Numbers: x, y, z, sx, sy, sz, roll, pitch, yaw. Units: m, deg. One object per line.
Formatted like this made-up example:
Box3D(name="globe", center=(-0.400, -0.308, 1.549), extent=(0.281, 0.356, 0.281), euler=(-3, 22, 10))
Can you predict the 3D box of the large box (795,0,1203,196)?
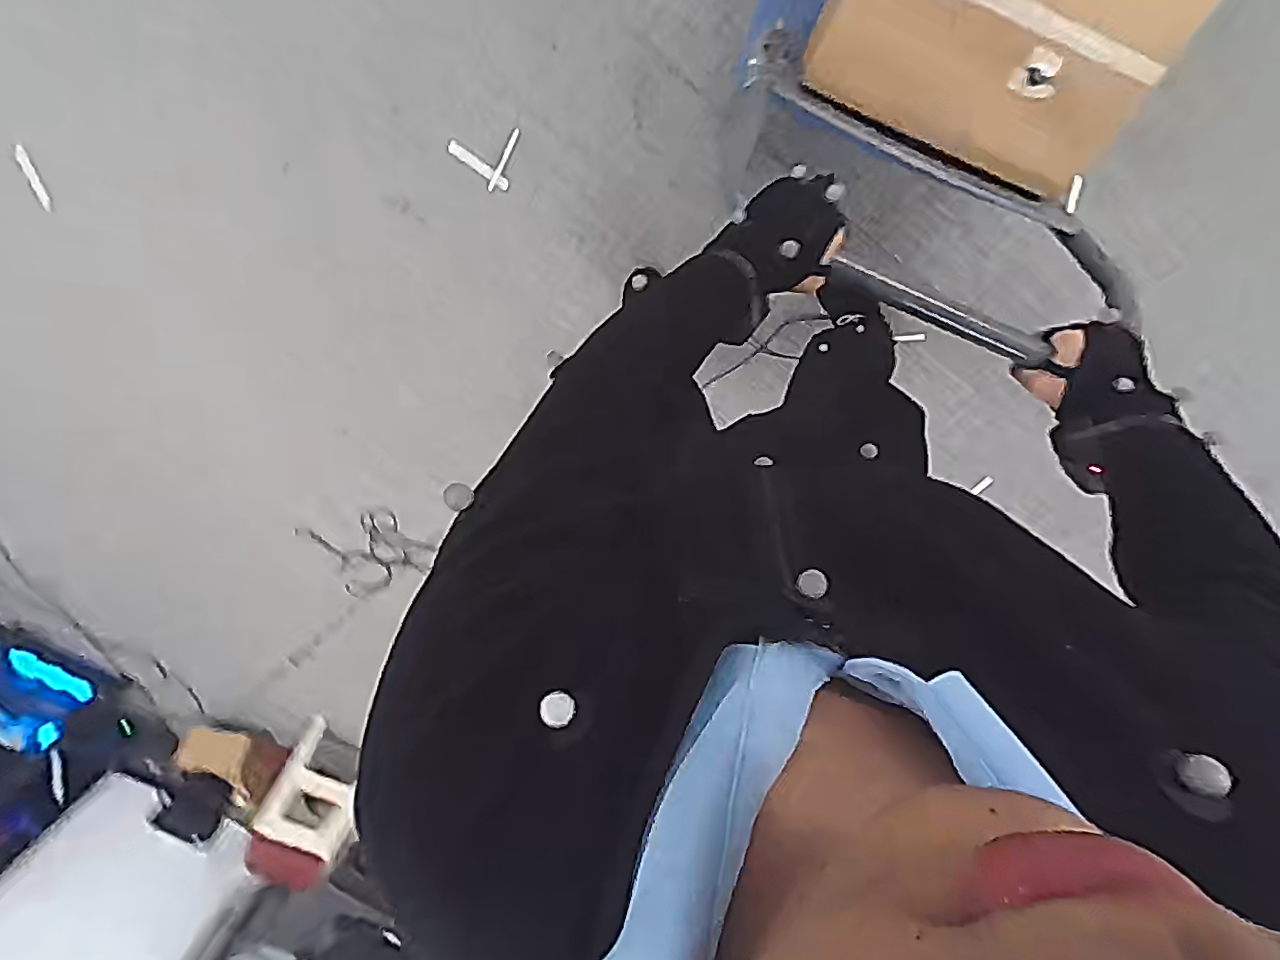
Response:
Box3D(name="large box", center=(0.481, -0.681, 0.784), extent=(0.408, 0.320, 0.320), euler=(21, 133, -5))
